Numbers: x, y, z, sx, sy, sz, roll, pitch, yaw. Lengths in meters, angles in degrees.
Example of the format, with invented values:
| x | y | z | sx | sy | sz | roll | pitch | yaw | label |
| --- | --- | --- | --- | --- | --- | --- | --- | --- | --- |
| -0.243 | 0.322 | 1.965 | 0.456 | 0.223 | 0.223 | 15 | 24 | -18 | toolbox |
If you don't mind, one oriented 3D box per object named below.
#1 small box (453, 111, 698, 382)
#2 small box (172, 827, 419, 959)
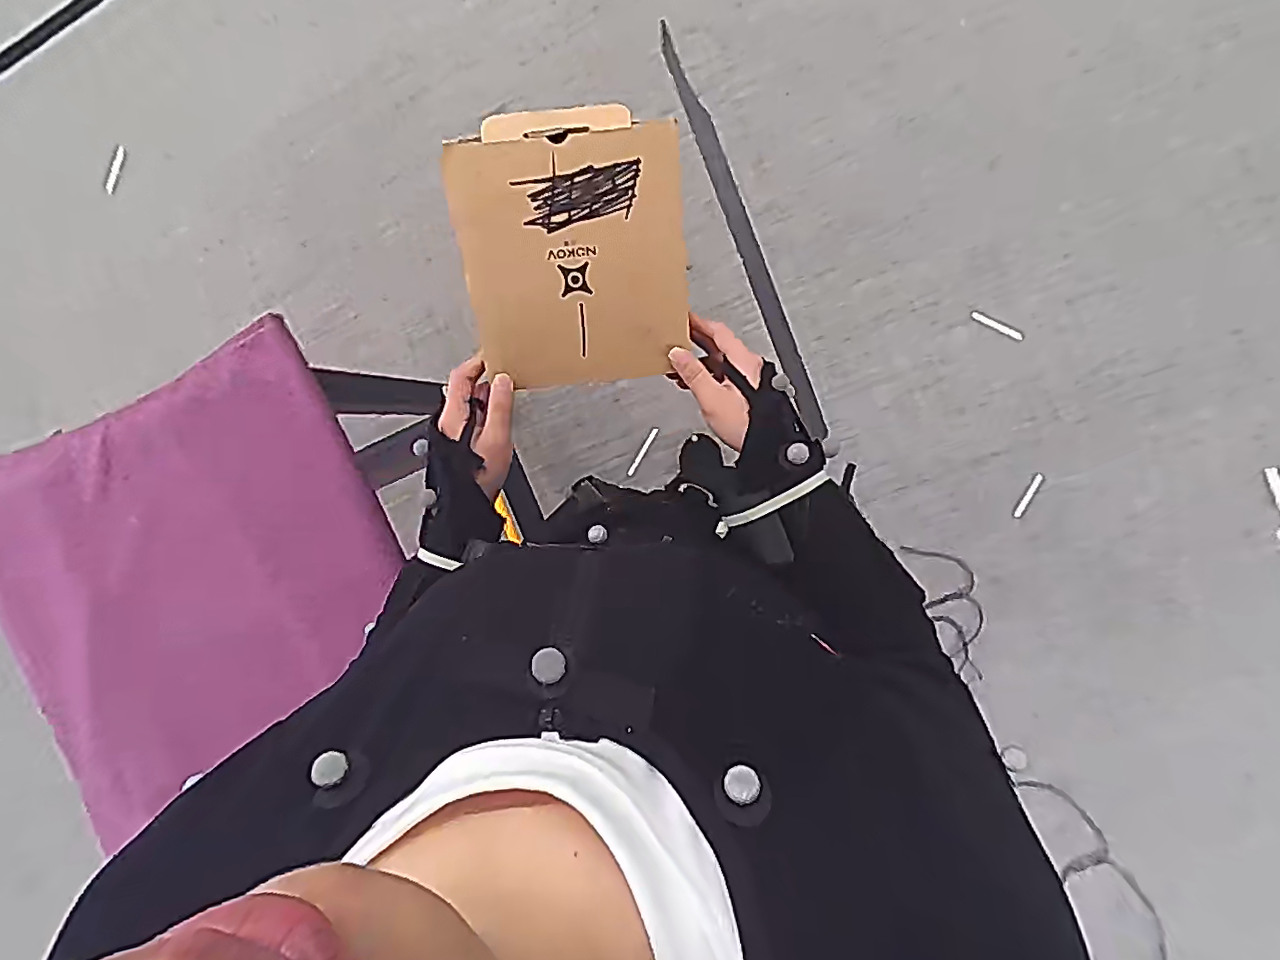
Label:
| x | y | z | sx | sy | sz | roll | pitch | yaw | label |
| --- | --- | --- | --- | --- | --- | --- | --- | --- | --- |
| -0.044 | -0.195 | 0.473 | 0.168 | 0.176 | 0.179 | -5 | 113 | 1 | small box |
| -0.411 | 0.583 | 0.672 | 0.168 | 0.176 | 0.179 | -22 | 92 | 10 | small box |
